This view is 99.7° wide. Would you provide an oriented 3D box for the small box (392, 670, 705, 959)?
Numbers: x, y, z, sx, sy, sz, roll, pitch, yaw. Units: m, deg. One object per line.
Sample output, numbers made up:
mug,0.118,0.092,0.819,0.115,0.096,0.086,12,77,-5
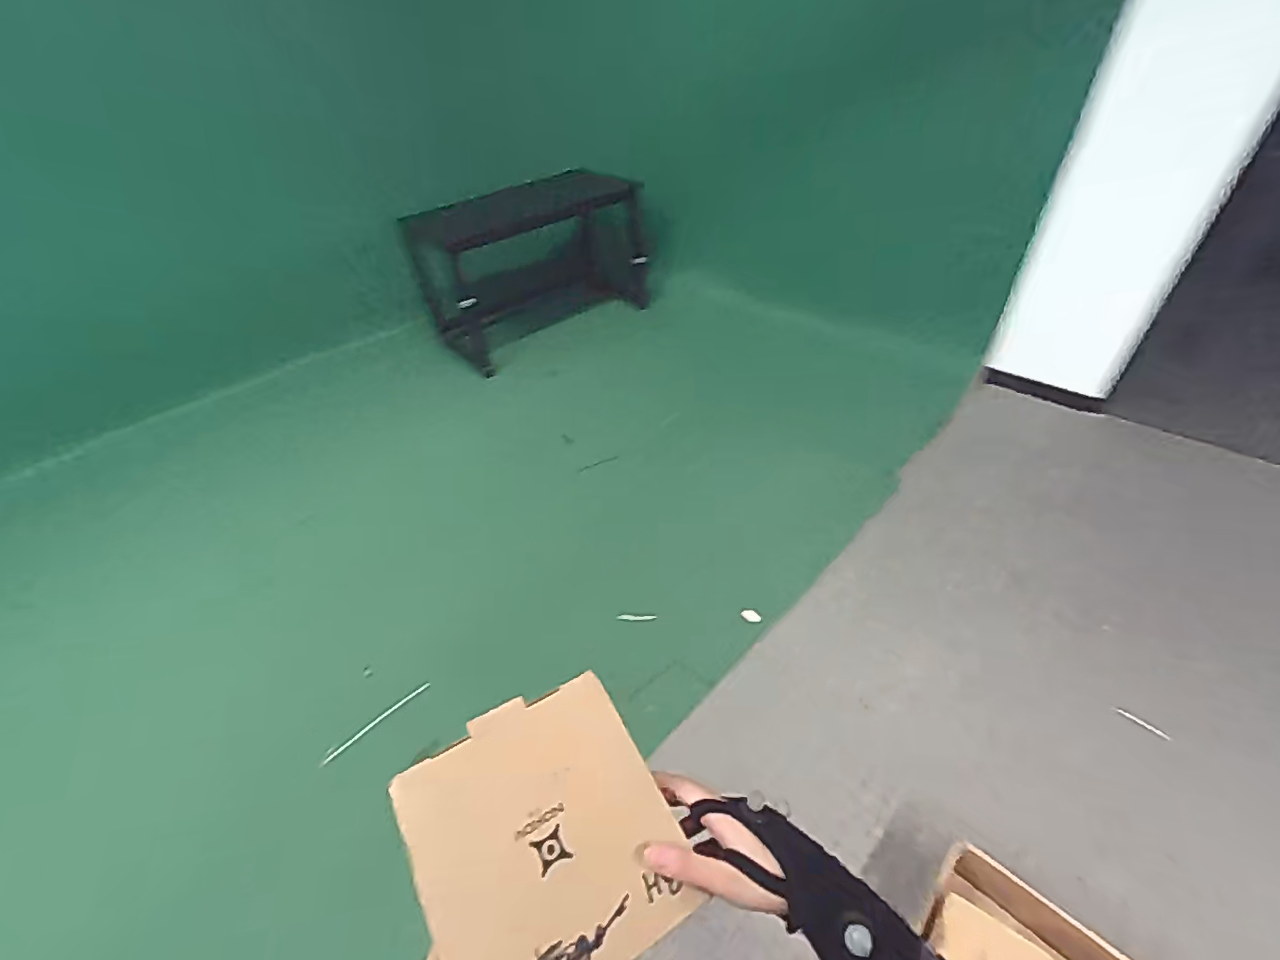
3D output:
small box,-0.075,0.295,0.435,0.168,0.176,0.179,-23,55,-24
